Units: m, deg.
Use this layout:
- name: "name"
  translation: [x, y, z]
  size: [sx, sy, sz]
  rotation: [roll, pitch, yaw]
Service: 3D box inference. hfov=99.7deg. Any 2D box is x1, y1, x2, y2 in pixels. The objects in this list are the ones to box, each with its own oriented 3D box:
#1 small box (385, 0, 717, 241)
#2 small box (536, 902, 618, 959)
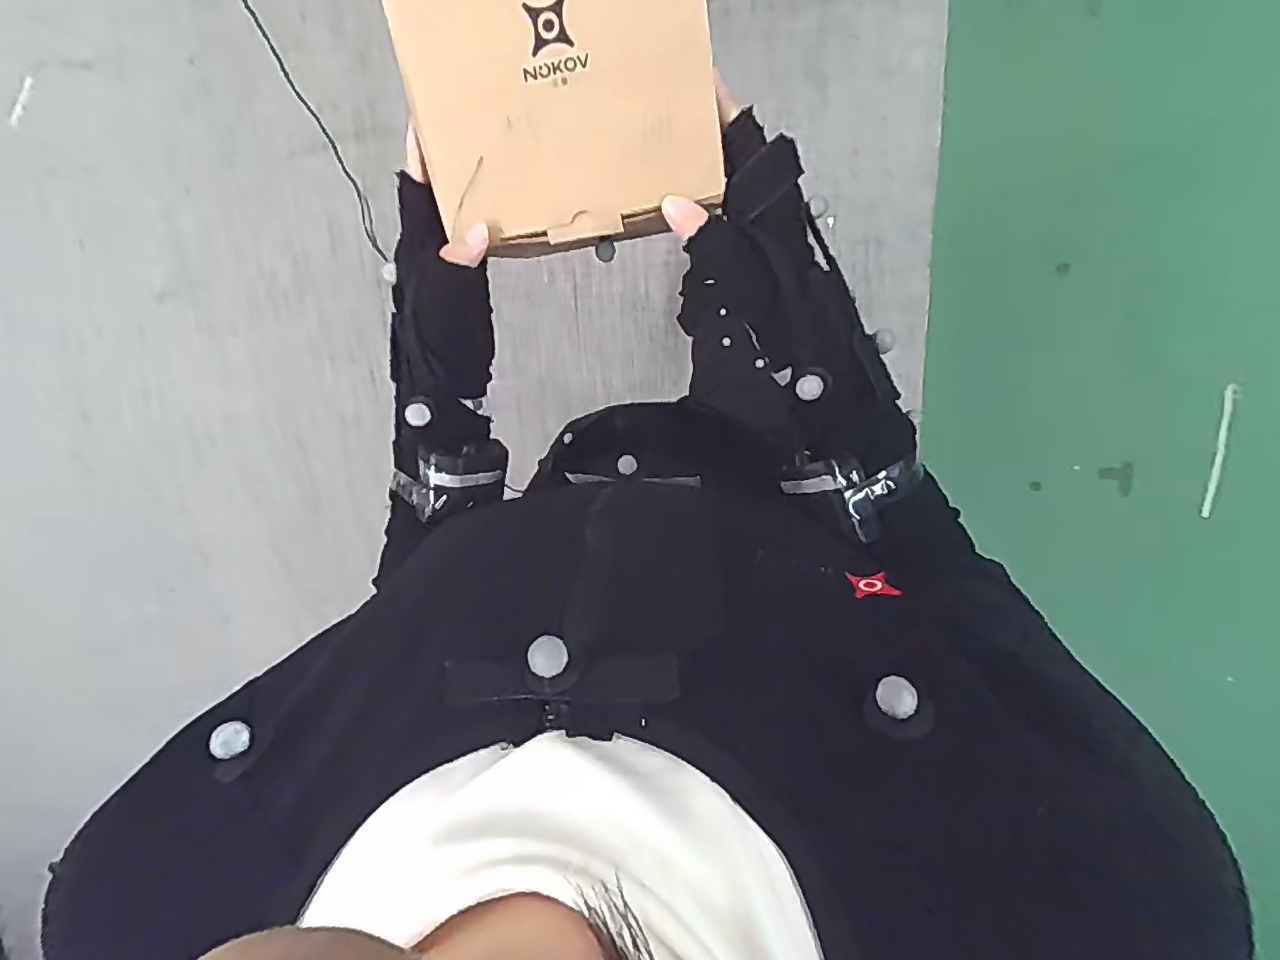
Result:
- name: "small box"
  translation: [-0.042, -0.263, 0.354]
  size: [0.168, 0.176, 0.179]
  rotation: [-7, 112, 6]
- name: "small box"
  translation: [-0.153, 1.196, 1.346]
  size: [0.179, 0.176, 0.168]
  rotation: [-5, 102, 9]
